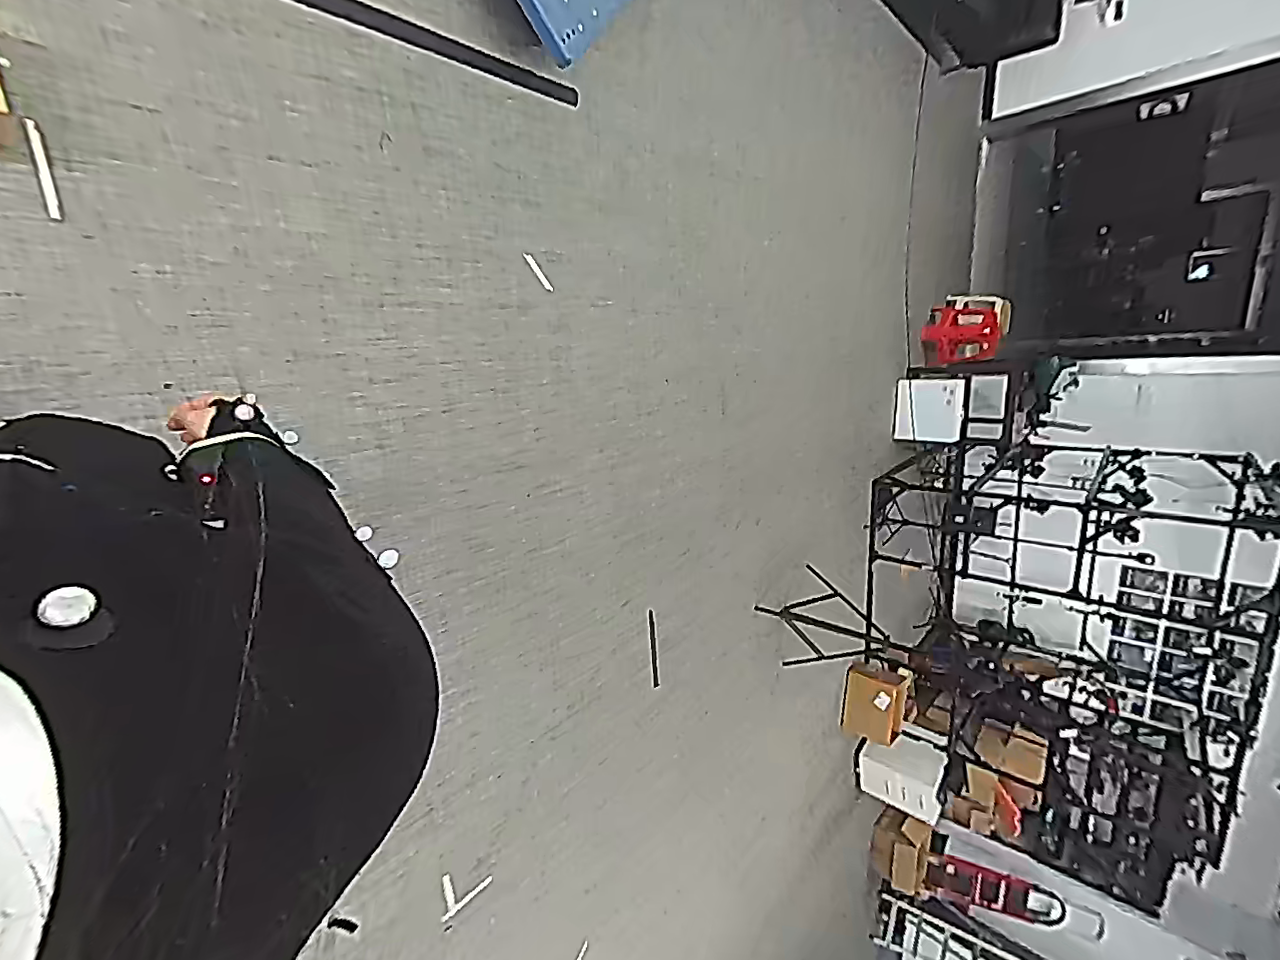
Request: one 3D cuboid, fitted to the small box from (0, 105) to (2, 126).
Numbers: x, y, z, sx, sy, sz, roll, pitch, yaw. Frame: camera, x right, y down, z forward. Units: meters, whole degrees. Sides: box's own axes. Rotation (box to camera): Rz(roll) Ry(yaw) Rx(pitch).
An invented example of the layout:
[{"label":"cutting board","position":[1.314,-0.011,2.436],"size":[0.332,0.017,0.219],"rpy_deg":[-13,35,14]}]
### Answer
[{"label":"small box","position":[-1.013,-0.597,0.731],"size":[0.168,0.176,0.179],"rpy_deg":[-17,110,-47]}]
